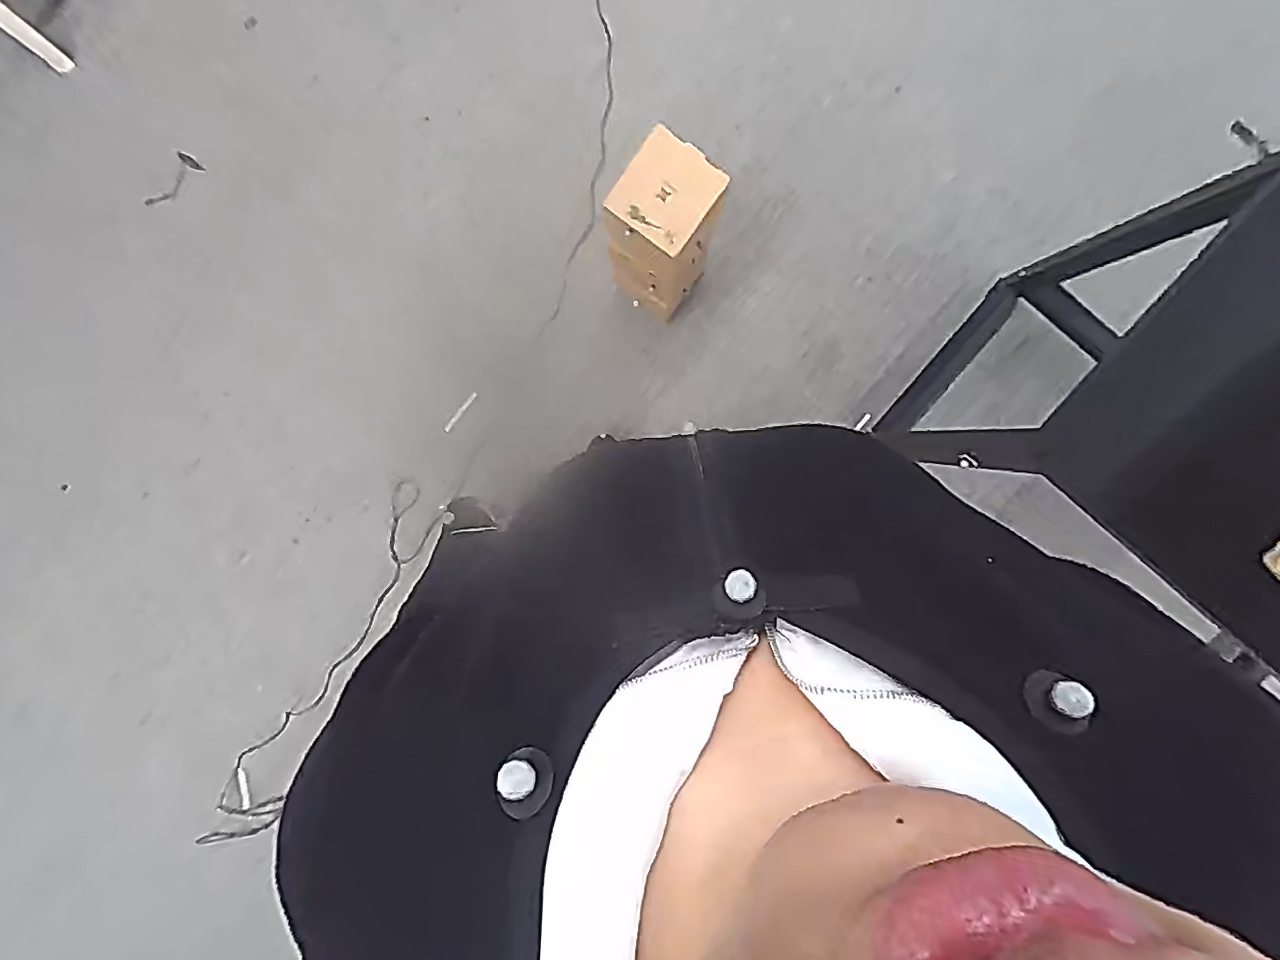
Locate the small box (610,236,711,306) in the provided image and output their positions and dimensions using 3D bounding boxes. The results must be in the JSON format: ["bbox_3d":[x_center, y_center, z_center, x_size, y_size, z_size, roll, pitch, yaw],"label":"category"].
[{"bbox_3d":[0.052,-0.523,1.219,0.168,0.176,0.179,33,93,-1],"label":"small box"}]

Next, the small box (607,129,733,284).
[{"bbox_3d":[0.054,-0.520,1.055,0.168,0.176,0.179,37,94,-1],"label":"small box"}]

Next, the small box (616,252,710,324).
[{"bbox_3d":[0.056,-0.528,1.382,0.168,0.176,0.179,37,95,0],"label":"small box"}]
